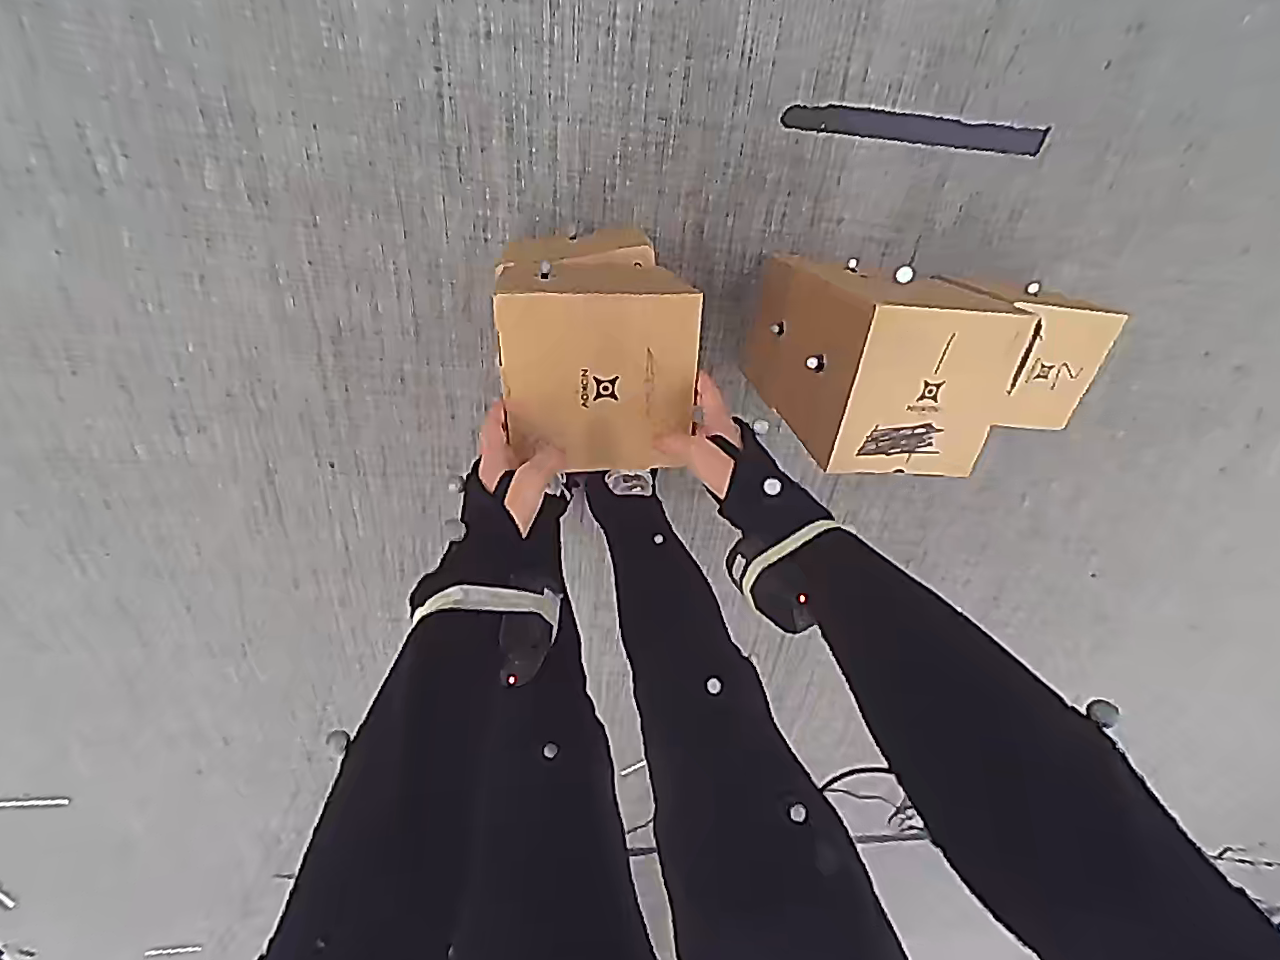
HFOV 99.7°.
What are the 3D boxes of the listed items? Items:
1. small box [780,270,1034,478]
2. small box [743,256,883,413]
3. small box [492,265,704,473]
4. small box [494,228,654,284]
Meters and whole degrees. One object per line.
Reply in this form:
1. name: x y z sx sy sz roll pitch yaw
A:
1. small box: 0.269 -0.120 0.599 0.168 0.176 0.179 1 120 -8
2. small box: 0.254 -0.197 0.744 0.168 0.176 0.179 5 121 -9
3. small box: -0.048 -0.119 0.546 0.179 0.176 0.168 -3 119 -11
4. small box: -0.072 -0.217 0.692 0.179 0.176 0.168 -8 122 -1
